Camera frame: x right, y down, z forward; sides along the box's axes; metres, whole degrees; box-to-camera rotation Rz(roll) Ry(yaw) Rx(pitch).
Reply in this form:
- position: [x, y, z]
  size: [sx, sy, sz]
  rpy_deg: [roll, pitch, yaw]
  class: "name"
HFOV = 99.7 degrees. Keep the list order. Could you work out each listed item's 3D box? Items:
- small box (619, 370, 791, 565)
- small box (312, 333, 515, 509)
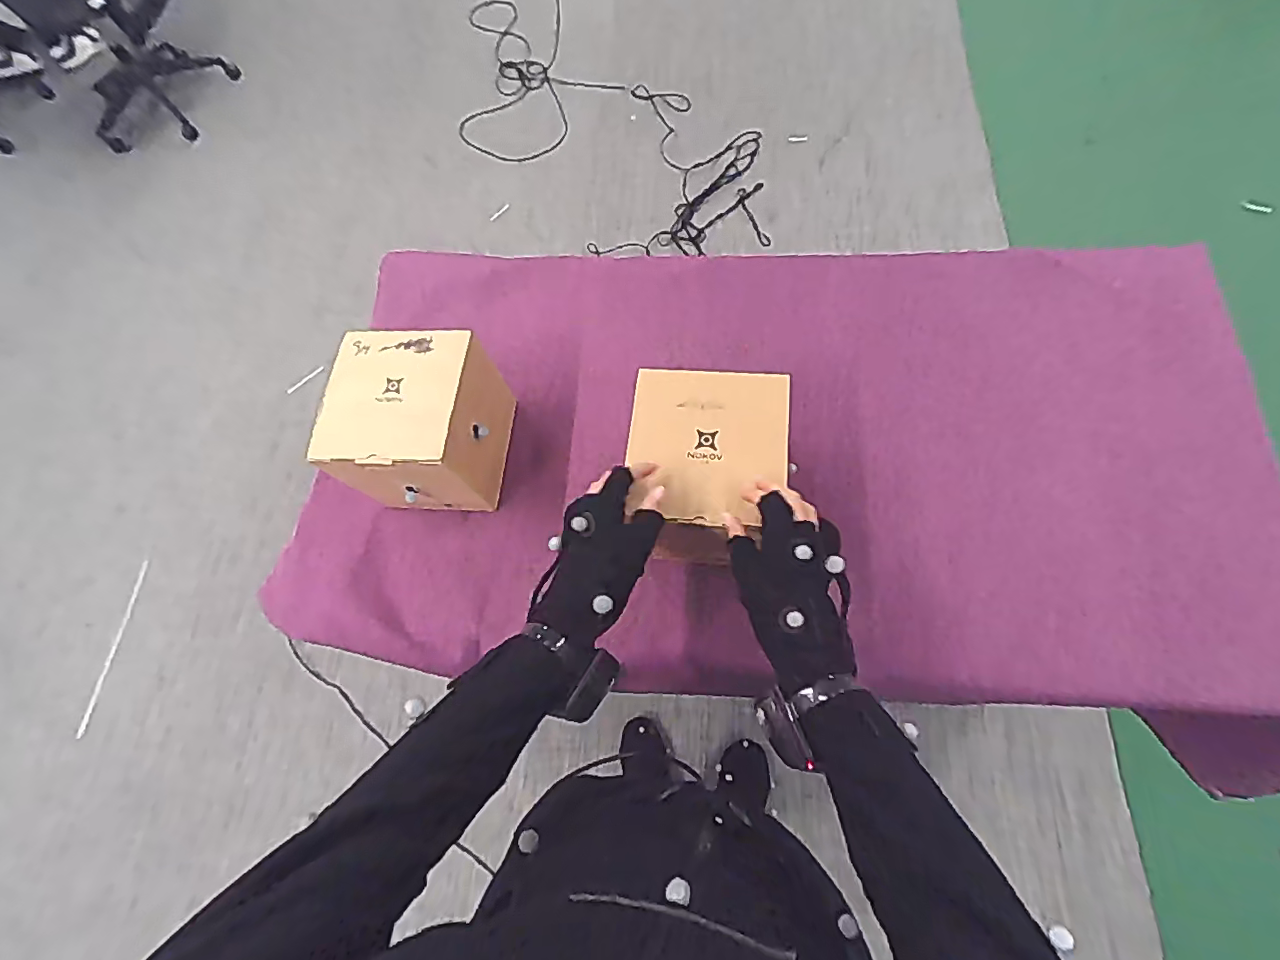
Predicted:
- position: [0.080, -0.006, 0.631]
  size: [0.168, 0.176, 0.179]
  rpy_deg: [5, 68, 9]
  class: "small box"
- position: [-0.274, -0.068, 0.700]
  size: [0.168, 0.176, 0.179]
  rpy_deg: [2, 69, 7]
  class: "small box"
